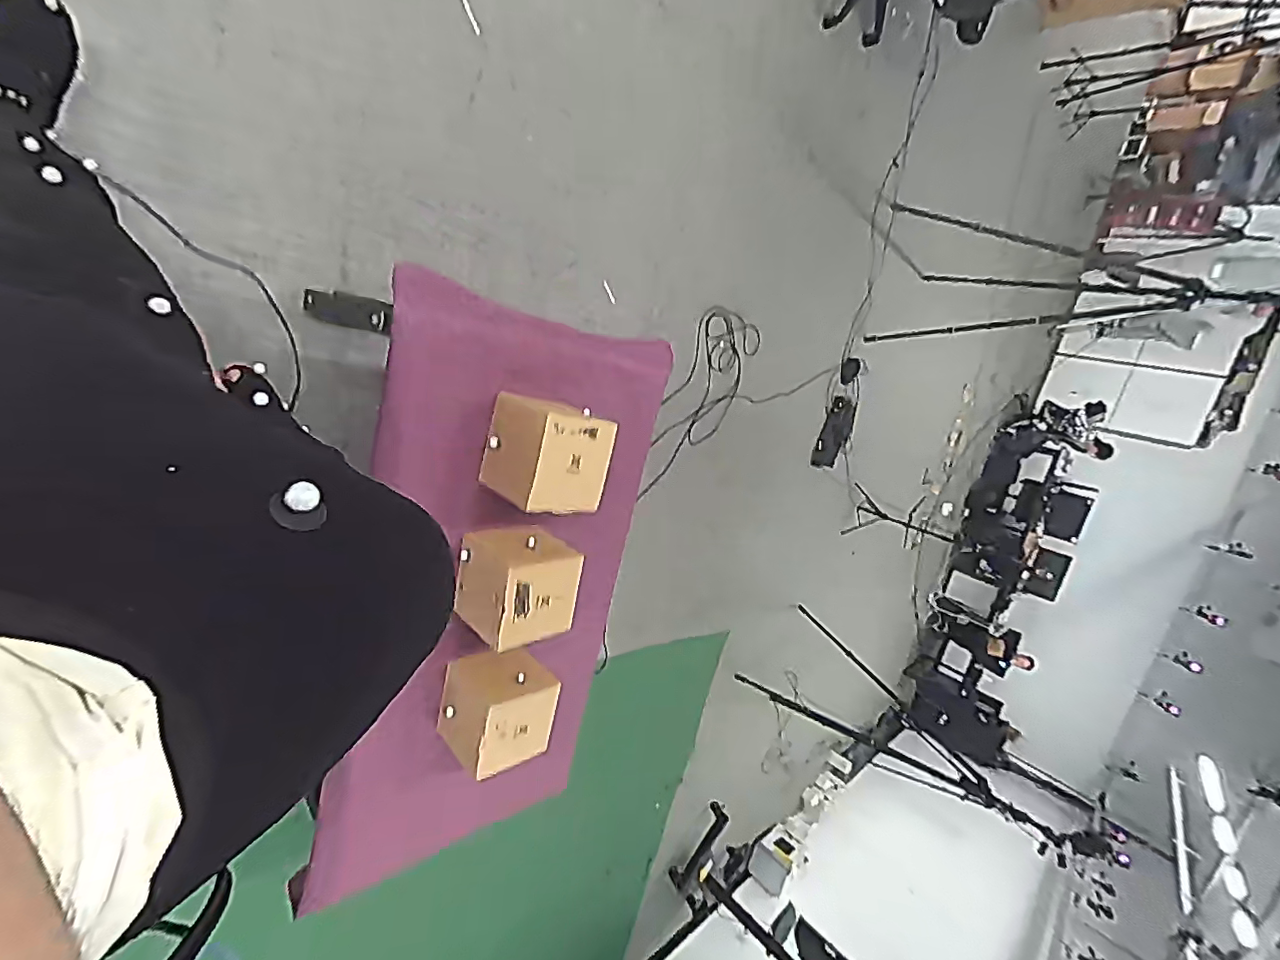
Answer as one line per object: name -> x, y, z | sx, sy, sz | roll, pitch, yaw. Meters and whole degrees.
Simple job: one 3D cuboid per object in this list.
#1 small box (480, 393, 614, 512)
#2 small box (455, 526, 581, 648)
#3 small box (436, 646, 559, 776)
small box -> -0.181, -0.051, 1.025 | 0.168, 0.176, 0.179 | 4, 106, -48
small box -> -0.247, 0.202, 1.076 | 0.179, 0.176, 0.168 | -3, 111, -47
small box -> -0.304, 0.475, 1.147 | 0.179, 0.176, 0.168 | 1, 107, -47
